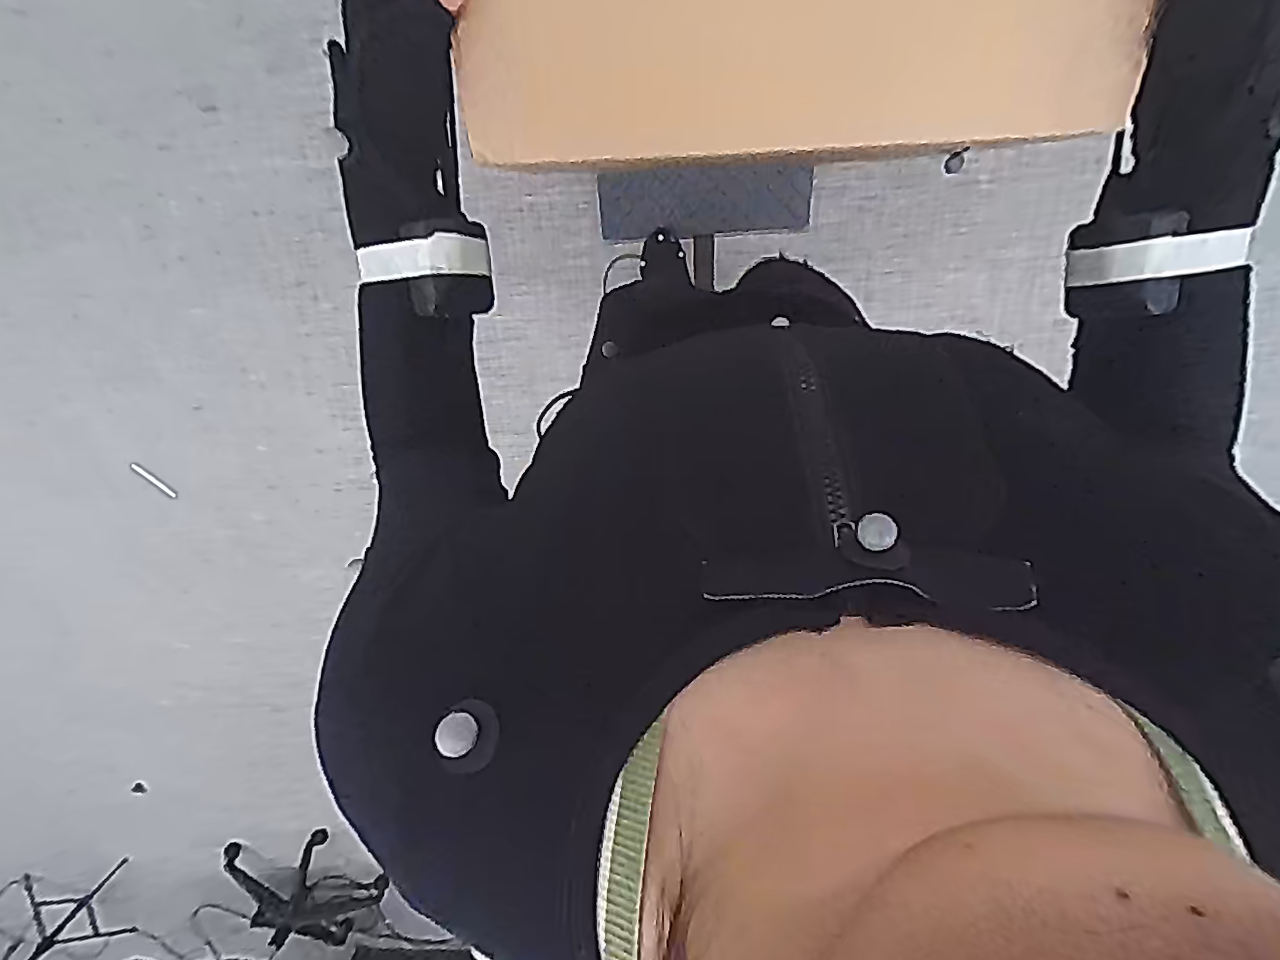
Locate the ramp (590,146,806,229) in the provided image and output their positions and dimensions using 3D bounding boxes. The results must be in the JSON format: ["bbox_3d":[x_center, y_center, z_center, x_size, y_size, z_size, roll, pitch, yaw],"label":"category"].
[{"bbox_3d":[0.111,-1.032,1.022,0.509,0.206,0.991,-4,113,1],"label":"ramp"}]

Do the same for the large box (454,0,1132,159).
[{"bbox_3d":[0.089,-0.428,0.402,0.408,0.320,0.320,-1,119,2],"label":"large box"}]
